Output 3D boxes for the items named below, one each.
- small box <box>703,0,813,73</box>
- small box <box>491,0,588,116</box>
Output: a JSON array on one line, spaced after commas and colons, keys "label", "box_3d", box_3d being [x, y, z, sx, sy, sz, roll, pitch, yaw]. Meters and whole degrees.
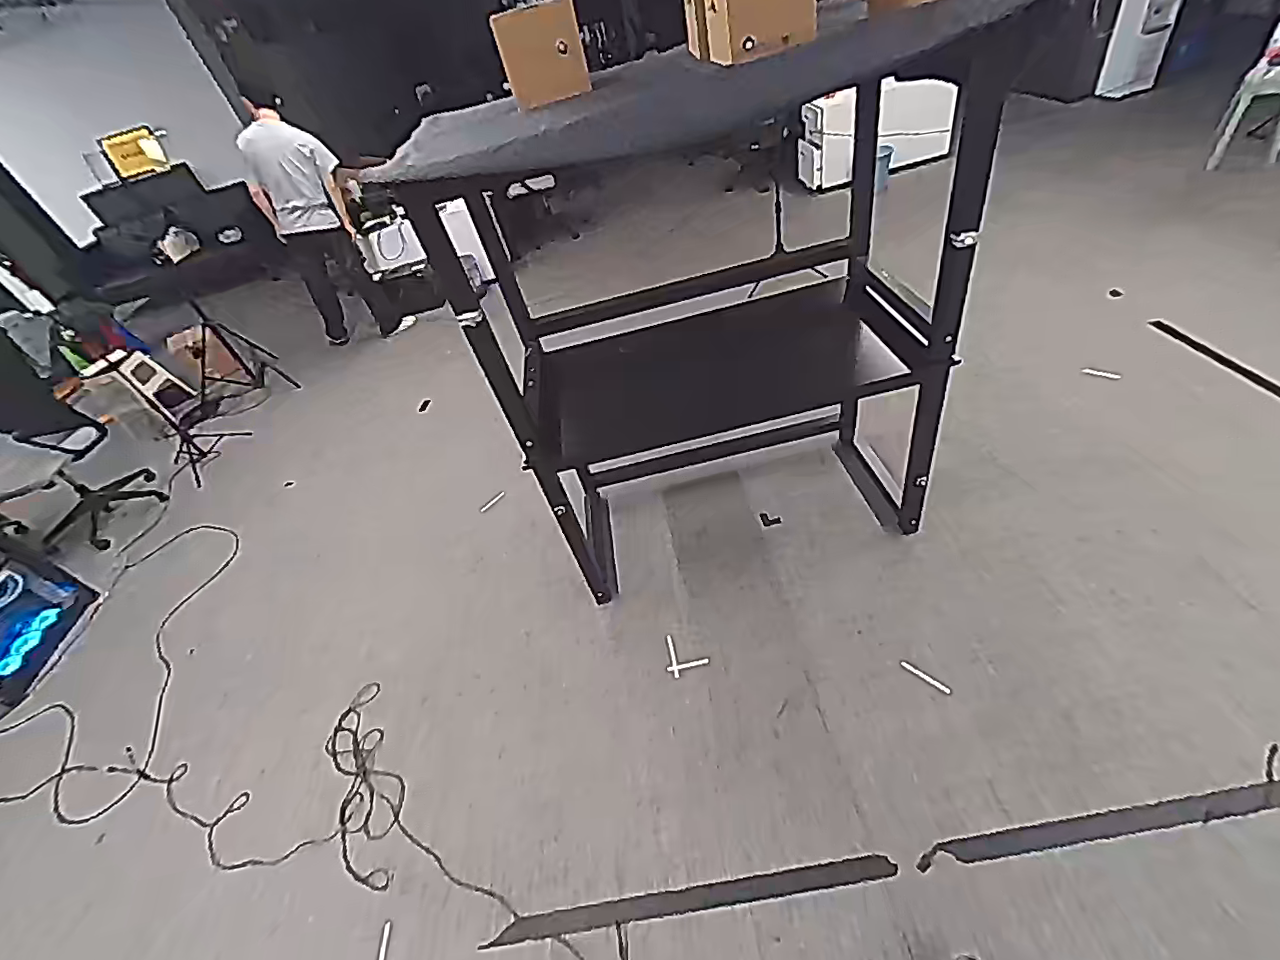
[{"label": "small box", "box_3d": [0.224, -0.906, 1.036, 0.168, 0.176, 0.179, -15, 42, 2]}, {"label": "small box", "box_3d": [-0.219, -0.945, 1.212, 0.179, 0.176, 0.168, -15, 43, 1]}]
